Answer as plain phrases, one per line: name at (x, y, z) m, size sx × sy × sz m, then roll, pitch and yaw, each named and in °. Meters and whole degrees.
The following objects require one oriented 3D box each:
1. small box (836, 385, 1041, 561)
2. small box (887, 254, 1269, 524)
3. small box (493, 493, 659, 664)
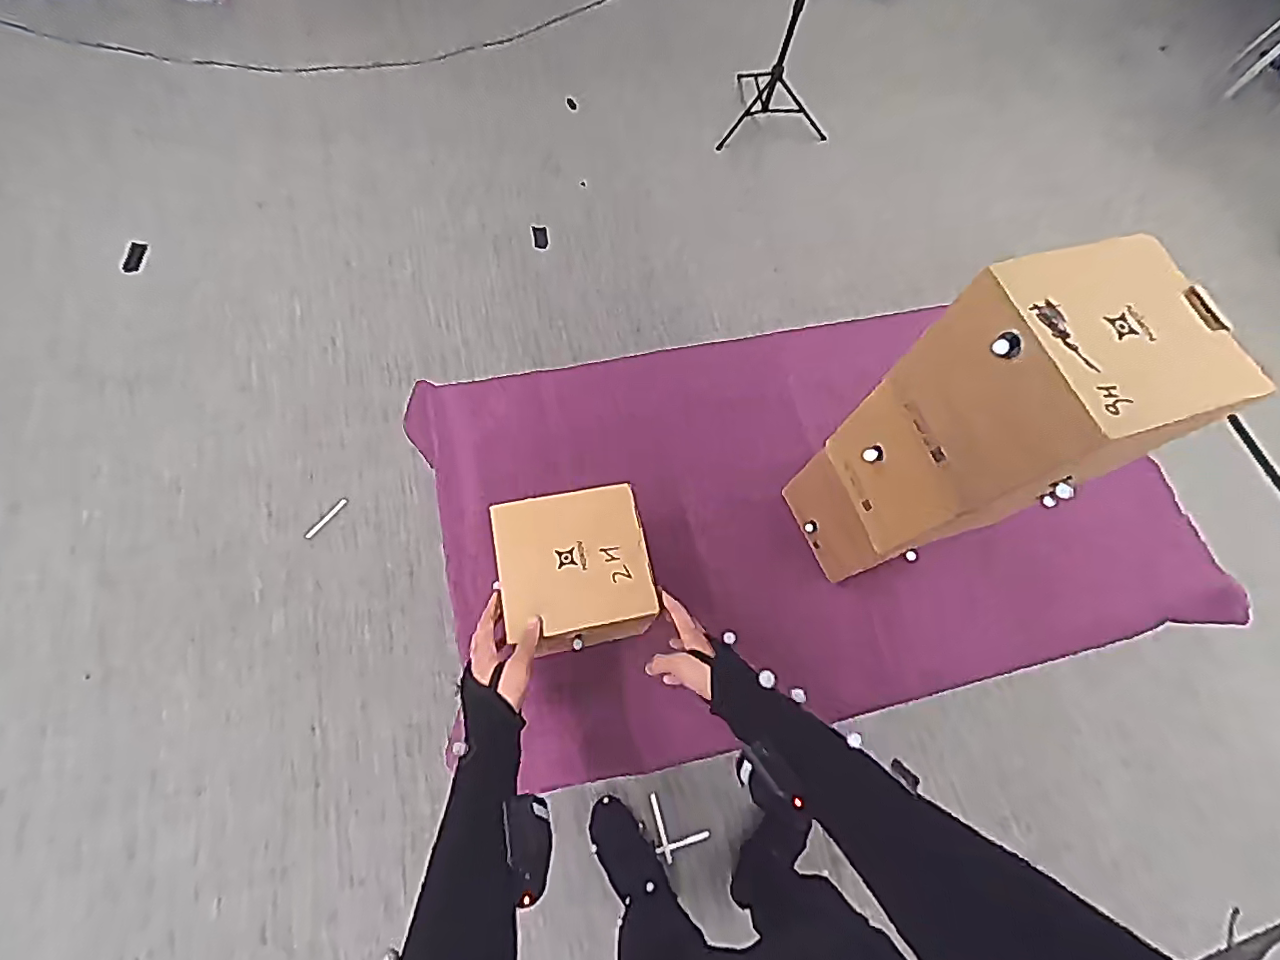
small box at (0.362, -0.015, 0.650) m, size 0.179 × 0.176 × 0.168 m, roll -13°, pitch 69°, yaw -12°
small box at (0.373, -0.076, 0.498) m, size 0.179 × 0.176 × 0.168 m, roll -13°, pitch 68°, yaw -13°
small box at (-0.086, 0.135, 0.706) m, size 0.179 × 0.176 × 0.168 m, roll -8°, pitch 67°, yaw -11°
